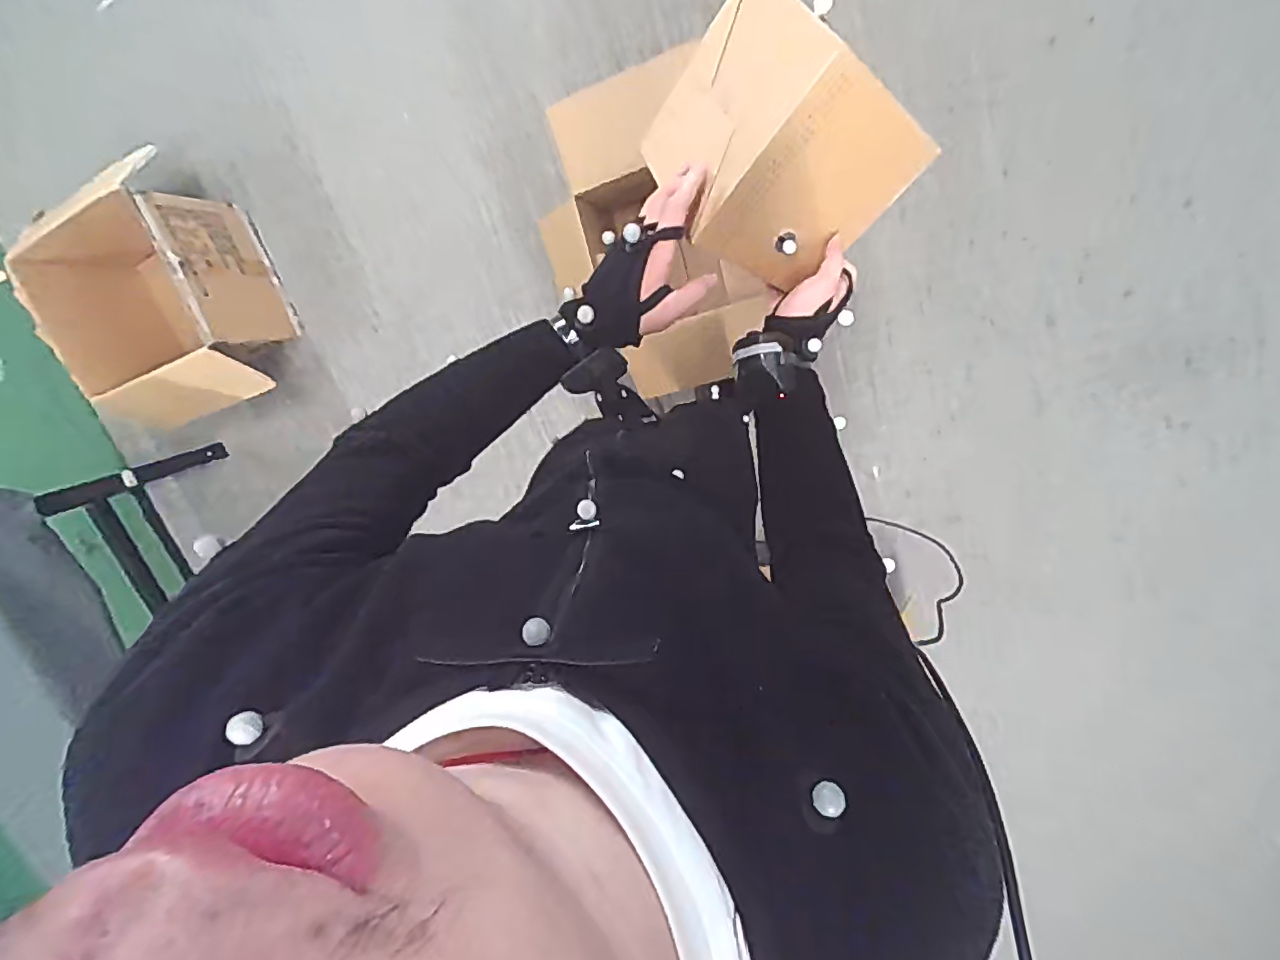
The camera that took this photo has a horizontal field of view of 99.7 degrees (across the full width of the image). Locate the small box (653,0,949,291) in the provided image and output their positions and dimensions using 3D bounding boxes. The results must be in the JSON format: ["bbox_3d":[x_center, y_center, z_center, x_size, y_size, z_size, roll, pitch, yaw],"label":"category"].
[{"bbox_3d":[0.137,-0.320,0.513,0.179,0.176,0.168,-44,55,41],"label":"small box"}]
